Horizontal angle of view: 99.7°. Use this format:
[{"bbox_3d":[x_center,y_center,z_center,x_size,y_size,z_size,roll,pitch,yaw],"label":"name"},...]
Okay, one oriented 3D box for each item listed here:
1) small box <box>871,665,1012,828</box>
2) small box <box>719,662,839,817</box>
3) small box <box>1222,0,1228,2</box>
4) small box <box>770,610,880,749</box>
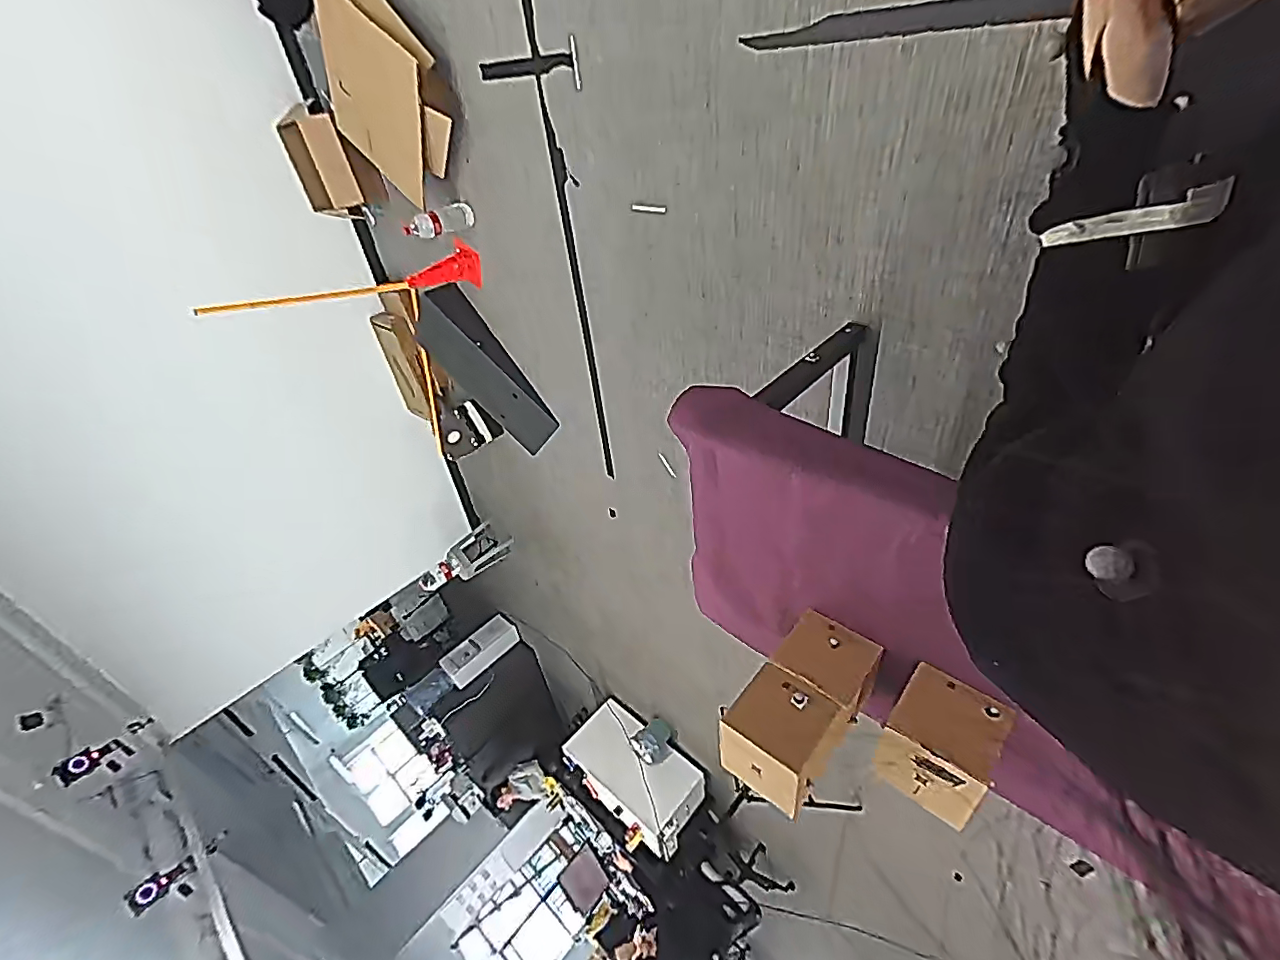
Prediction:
[{"bbox_3d":[0.552,0.479,0.991,0.168,0.176,0.179,26,138,35],"label":"small box"},{"bbox_3d":[0.271,0.497,1.053,0.168,0.176,0.179,23,135,36],"label":"small box"},{"bbox_3d":[0.303,-0.349,0.220,0.168,0.176,0.179,-21,99,51],"label":"small box"},{"bbox_3d":[0.383,0.413,1.137,0.168,0.176,0.179,25,137,34],"label":"small box"}]
